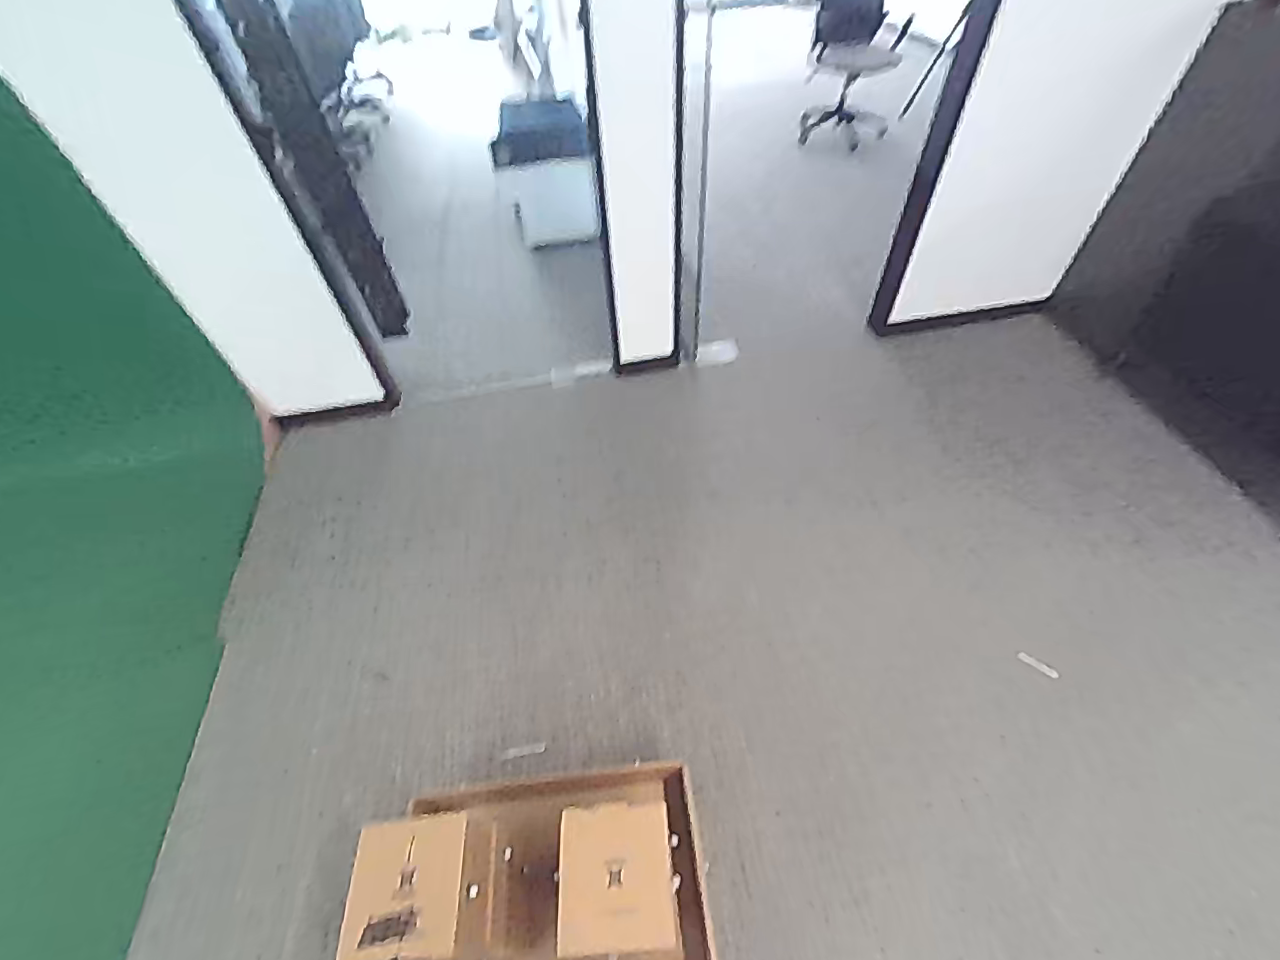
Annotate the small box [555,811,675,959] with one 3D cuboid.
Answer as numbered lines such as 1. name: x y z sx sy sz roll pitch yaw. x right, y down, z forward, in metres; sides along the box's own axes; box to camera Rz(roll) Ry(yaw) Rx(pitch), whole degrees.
1. small box: -0.035 0.638 0.845 0.168 0.176 0.179 -4 50 0

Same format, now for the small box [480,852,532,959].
1. small box: -0.316 0.876 1.088 0.168 0.176 0.179 -6 48 -2

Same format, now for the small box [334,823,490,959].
1. small box: -0.340 0.659 0.843 0.168 0.176 0.179 -6 47 -3
